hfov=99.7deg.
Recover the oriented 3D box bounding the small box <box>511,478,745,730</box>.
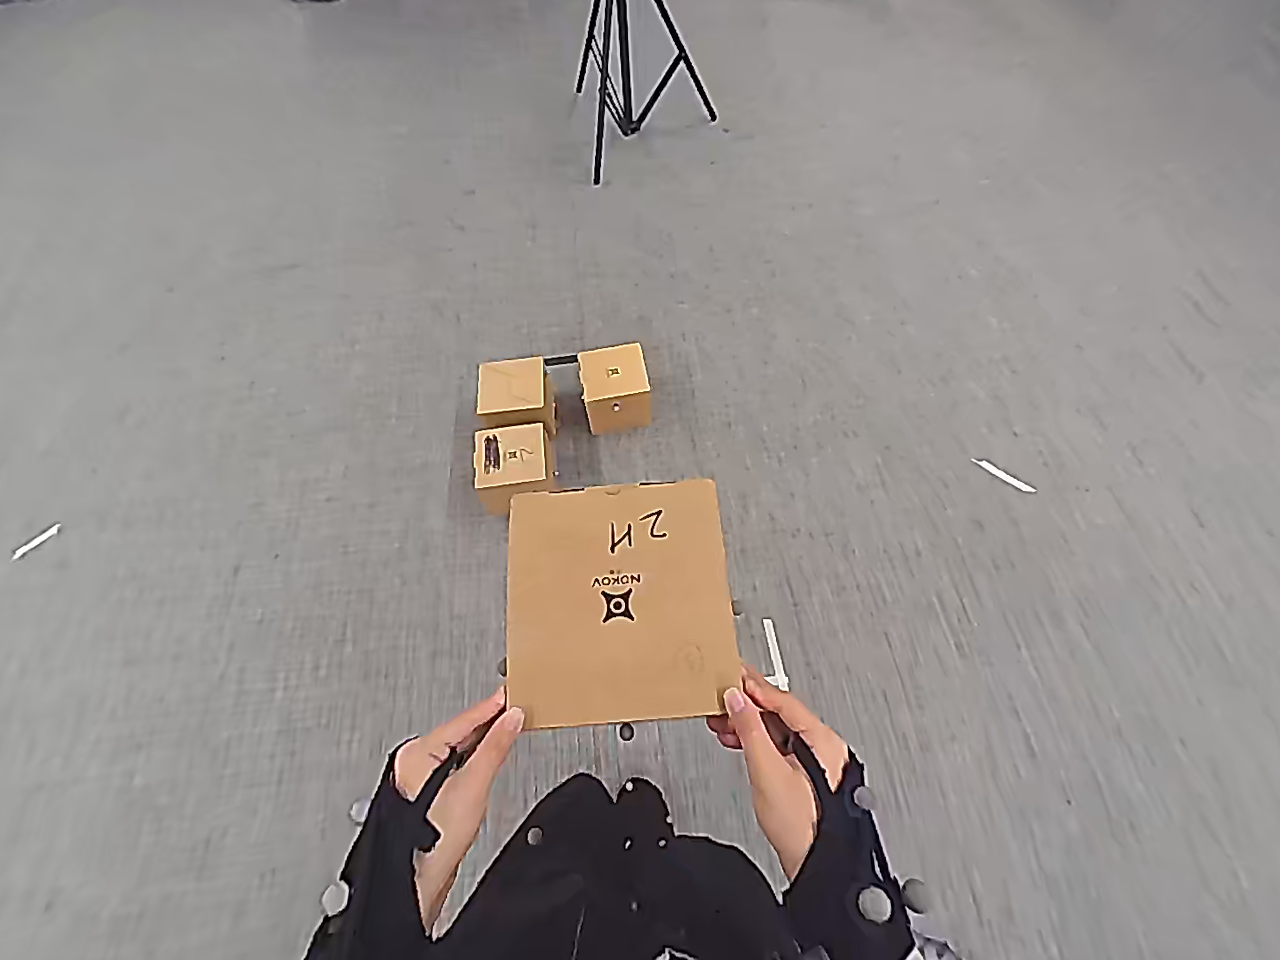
[{"bbox_3d":[-0.009,0.114,0.474,0.168,0.176,0.179,-5,67,0],"label":"small box"}]

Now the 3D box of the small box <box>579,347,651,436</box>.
[{"bbox_3d":[-0.067,-0.242,1.511,0.179,0.176,0.168,-11,64,-2],"label":"small box"}]

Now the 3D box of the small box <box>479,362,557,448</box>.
[{"bbox_3d":[-0.335,-0.209,1.502,0.179,0.176,0.168,-6,63,0],"label":"small box"}]
